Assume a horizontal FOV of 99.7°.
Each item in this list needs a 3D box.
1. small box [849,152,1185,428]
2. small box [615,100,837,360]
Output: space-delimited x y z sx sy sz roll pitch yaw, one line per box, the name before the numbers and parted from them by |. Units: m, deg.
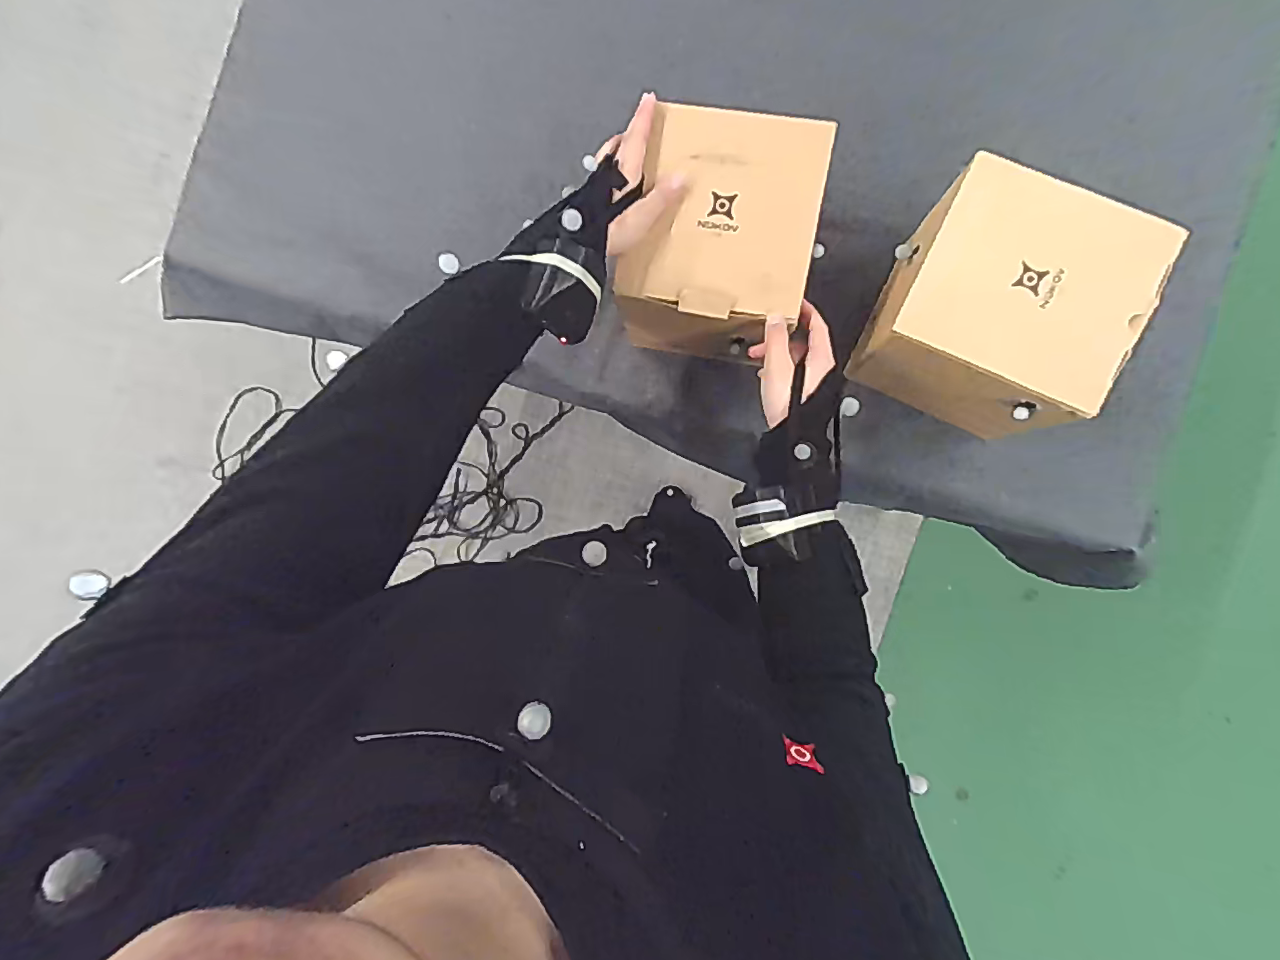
small box | 0.329 -0.161 0.518 0.179 0.176 0.168 26 91 6
small box | 0.080 -0.232 0.545 0.168 0.176 0.179 10 89 5
